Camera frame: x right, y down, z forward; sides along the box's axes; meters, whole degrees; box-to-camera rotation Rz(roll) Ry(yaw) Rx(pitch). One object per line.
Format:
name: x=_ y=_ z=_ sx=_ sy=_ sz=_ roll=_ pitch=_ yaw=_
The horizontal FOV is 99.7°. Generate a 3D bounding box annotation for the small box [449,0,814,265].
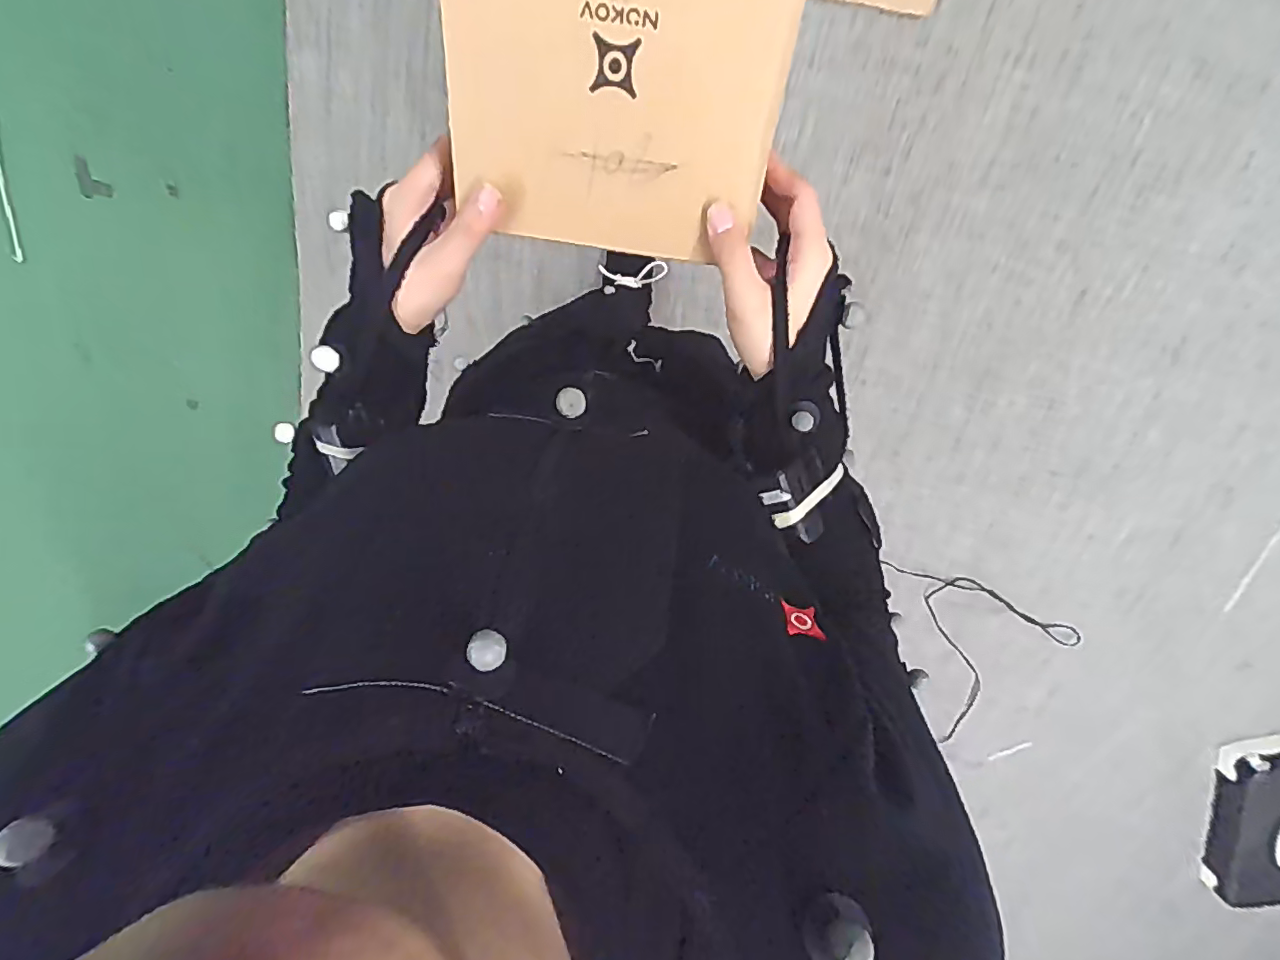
small box: x=-0.001 y=-0.249 z=0.316 sx=0.168 sy=0.176 sz=0.179 roll=9 pitch=127 yaw=0
